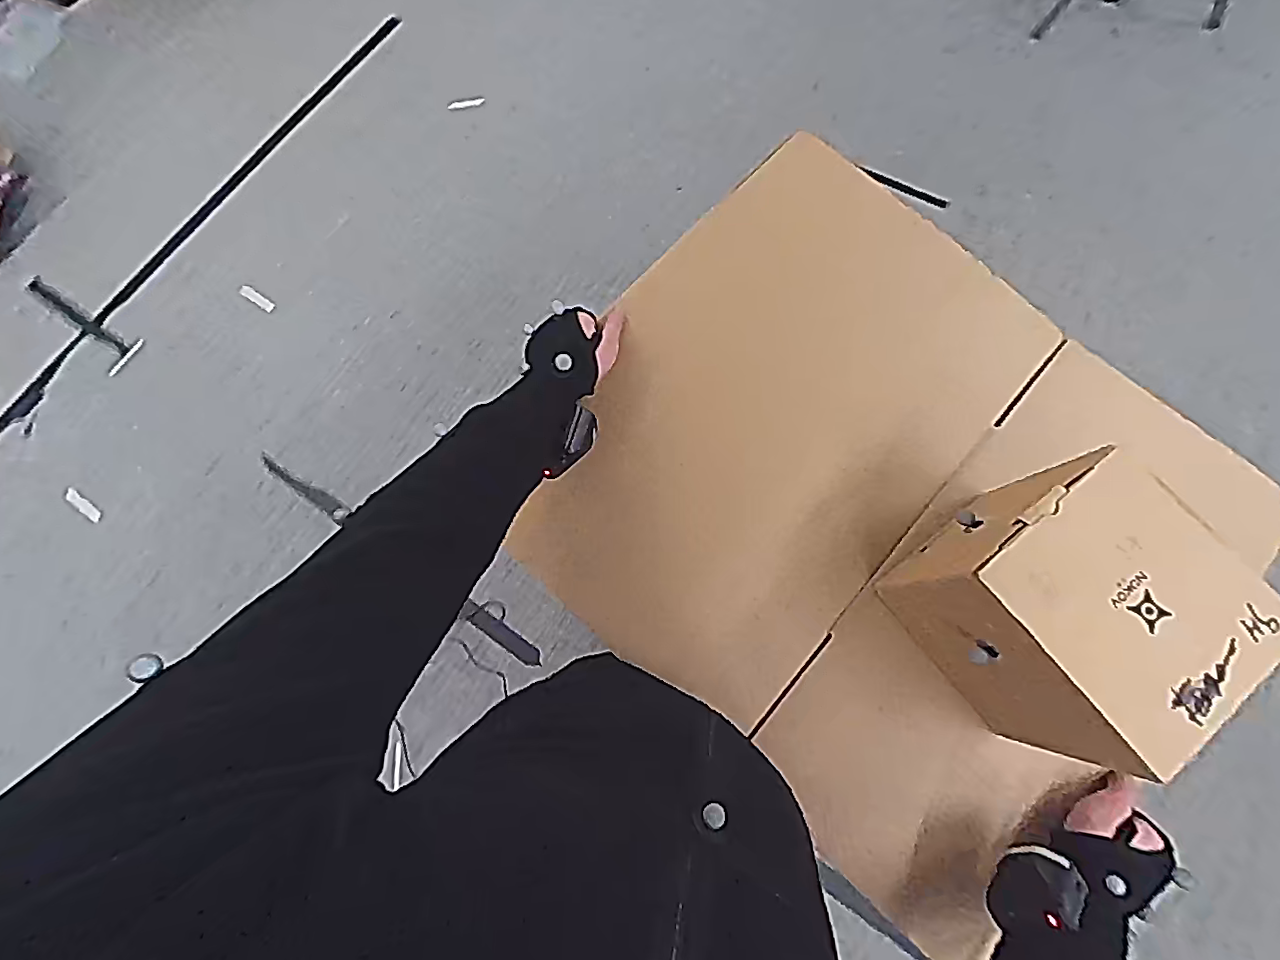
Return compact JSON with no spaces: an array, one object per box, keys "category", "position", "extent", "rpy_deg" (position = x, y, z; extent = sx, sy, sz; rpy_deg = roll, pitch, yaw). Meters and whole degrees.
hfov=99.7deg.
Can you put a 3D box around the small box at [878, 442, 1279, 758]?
[{"category":"small box","position":[0.350,0.103,0.476],"extent":[0.168,0.176,0.179],"rpy_deg":[-38,78,-10]}]
